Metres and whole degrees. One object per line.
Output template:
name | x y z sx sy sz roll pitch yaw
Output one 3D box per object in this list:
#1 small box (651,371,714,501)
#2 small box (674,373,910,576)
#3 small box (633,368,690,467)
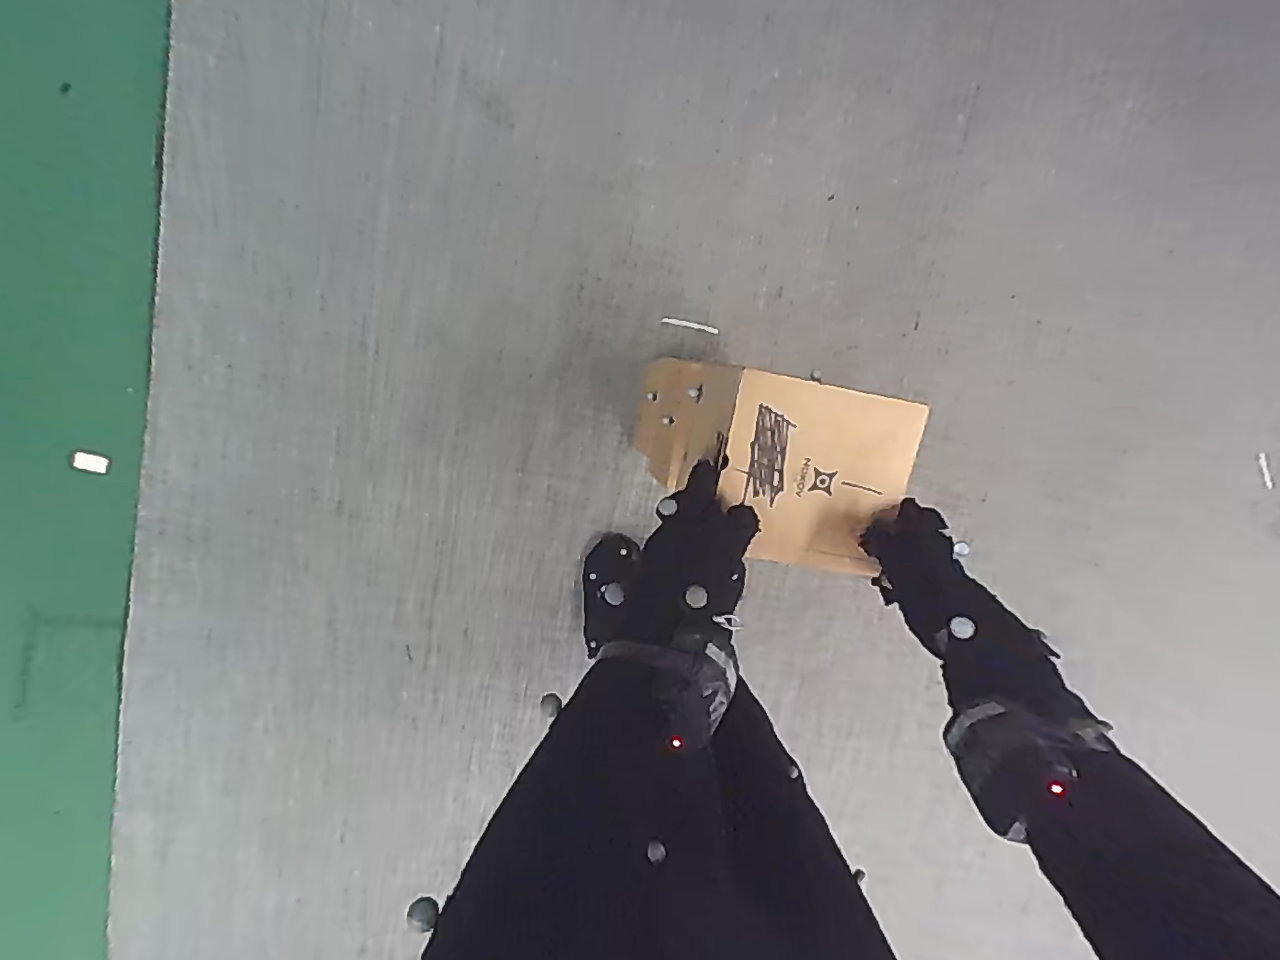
small box | 0.117 -0.059 0.803 0.168 0.176 0.179 8 99 -8
small box | 0.142 -0.016 0.579 0.179 0.176 0.168 10 102 -8
small box | 0.095 -0.100 0.961 0.179 0.176 0.168 9 97 -10
